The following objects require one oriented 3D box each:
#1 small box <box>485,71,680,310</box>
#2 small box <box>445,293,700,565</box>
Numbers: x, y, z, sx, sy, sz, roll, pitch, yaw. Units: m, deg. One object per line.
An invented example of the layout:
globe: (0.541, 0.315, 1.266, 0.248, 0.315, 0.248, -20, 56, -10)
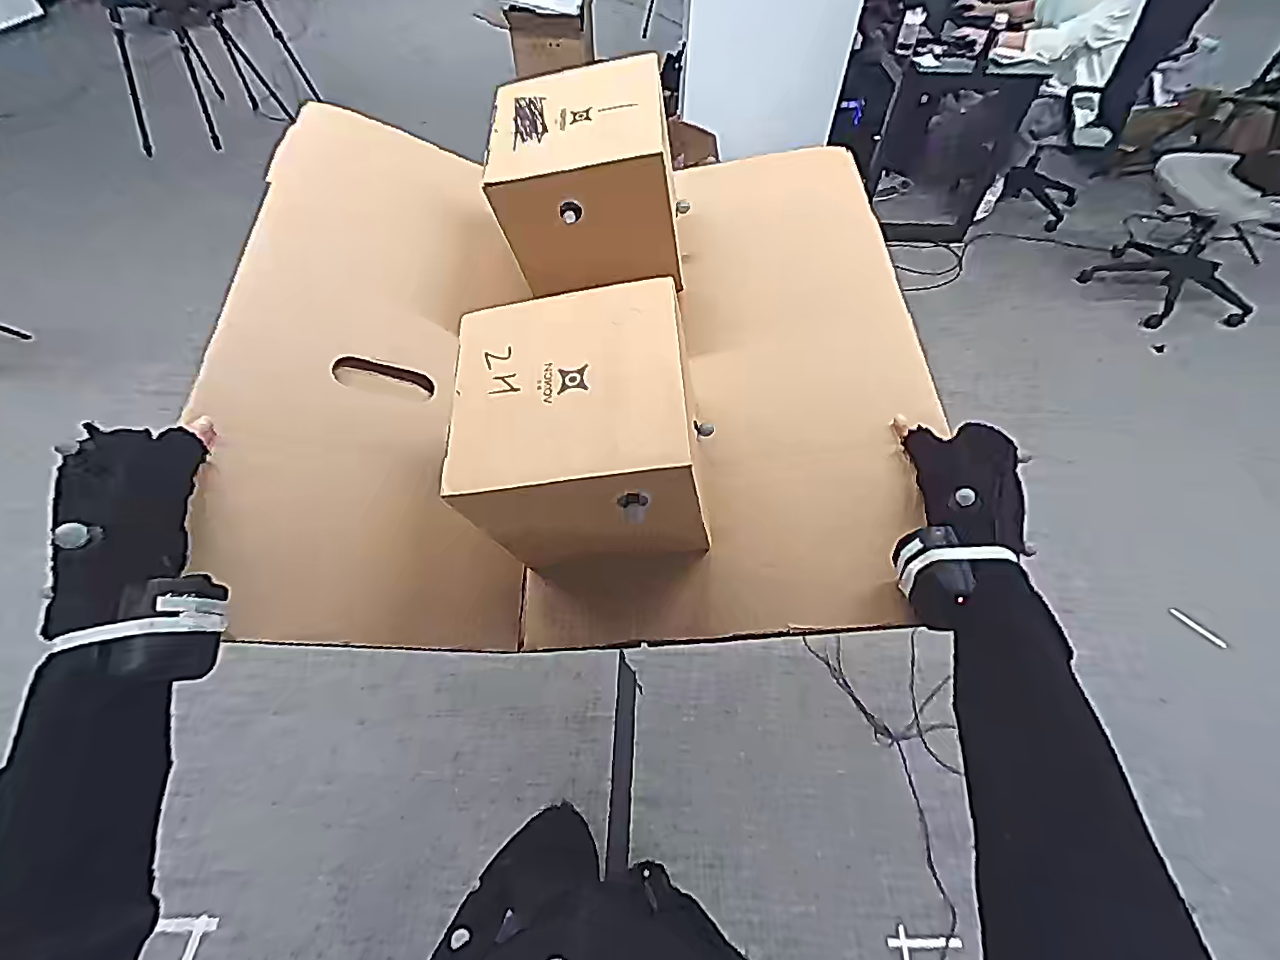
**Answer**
small box: (-0.052, -0.315, 0.616, 0.179, 0.176, 0.168, -5, 63, 8)
small box: (-0.041, -0.032, 0.475, 0.179, 0.176, 0.168, -7, 63, 9)
